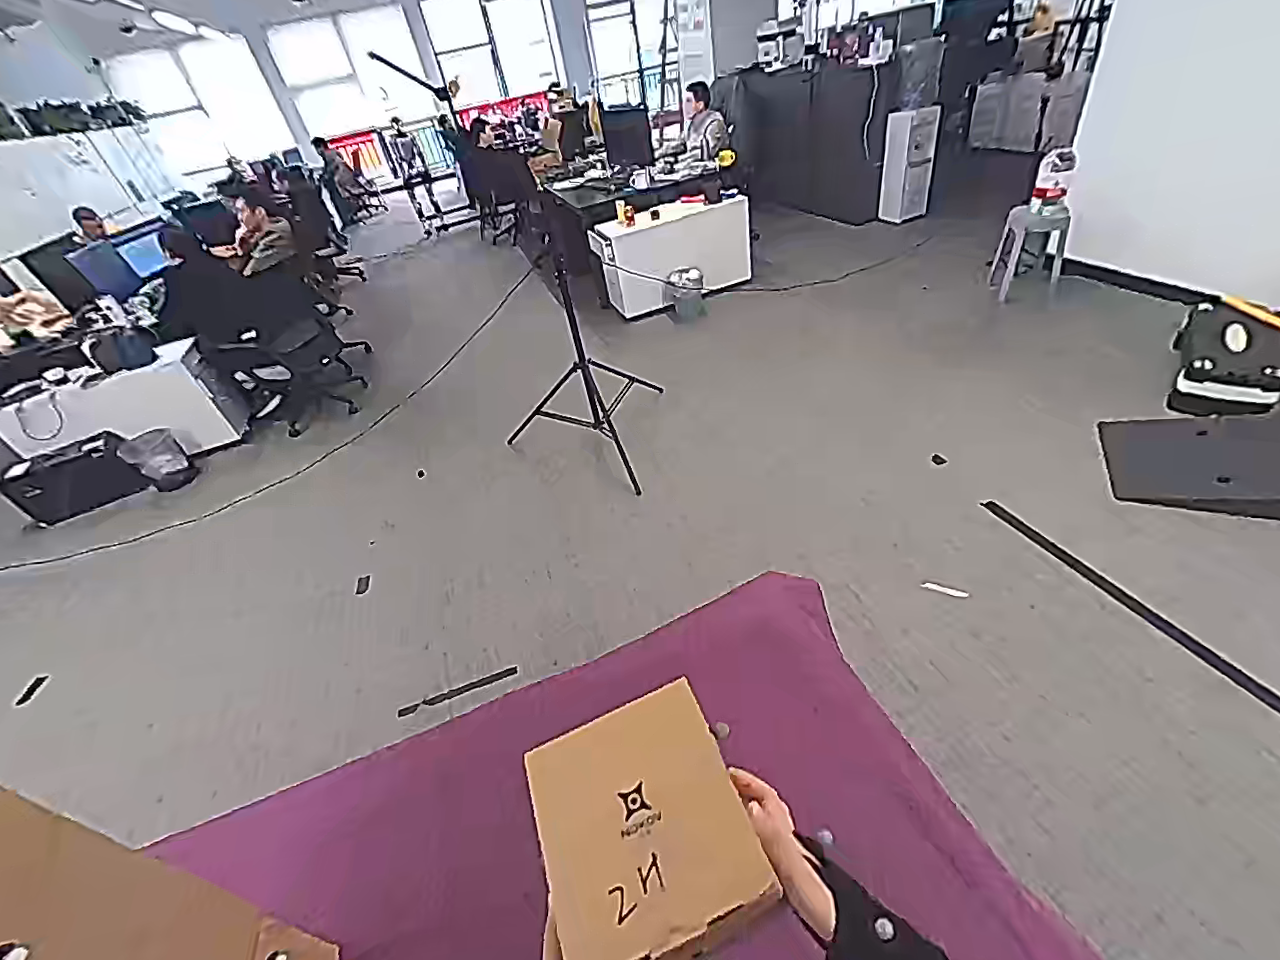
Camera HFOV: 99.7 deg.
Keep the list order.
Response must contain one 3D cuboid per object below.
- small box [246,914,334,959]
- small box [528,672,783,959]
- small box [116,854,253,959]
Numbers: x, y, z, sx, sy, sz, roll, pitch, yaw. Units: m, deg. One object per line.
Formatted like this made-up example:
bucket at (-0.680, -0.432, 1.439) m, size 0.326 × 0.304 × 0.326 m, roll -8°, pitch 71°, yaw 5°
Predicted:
small box at (-0.443, 0.602, 0.557) m, size 0.168 × 0.176 × 0.179 m, roll -19°, pitch 39°, yaw -9°
small box at (0.016, 0.318, 0.497) m, size 0.168 × 0.176 × 0.179 m, roll -24°, pitch 45°, yaw -5°
small box at (-0.473, 0.473, 0.460) m, size 0.168 × 0.176 × 0.179 m, roll -20°, pitch 38°, yaw -9°
